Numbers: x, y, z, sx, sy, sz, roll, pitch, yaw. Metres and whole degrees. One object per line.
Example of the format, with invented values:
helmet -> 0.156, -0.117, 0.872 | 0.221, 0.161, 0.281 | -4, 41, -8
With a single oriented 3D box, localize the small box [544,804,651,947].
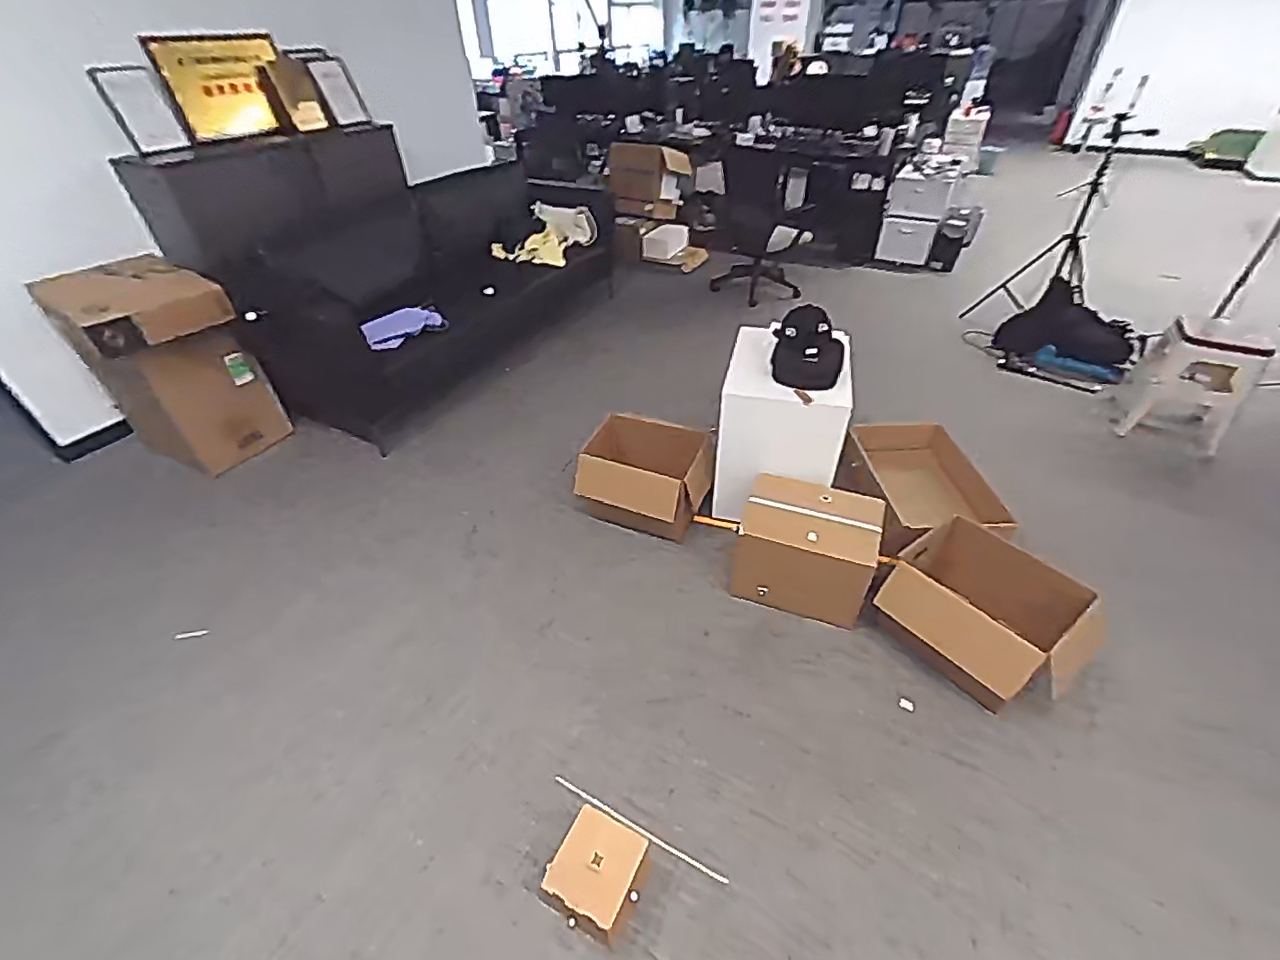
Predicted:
small box -> -0.086, 0.857, 1.172 | 0.168, 0.176, 0.179 | 17, 44, 22
